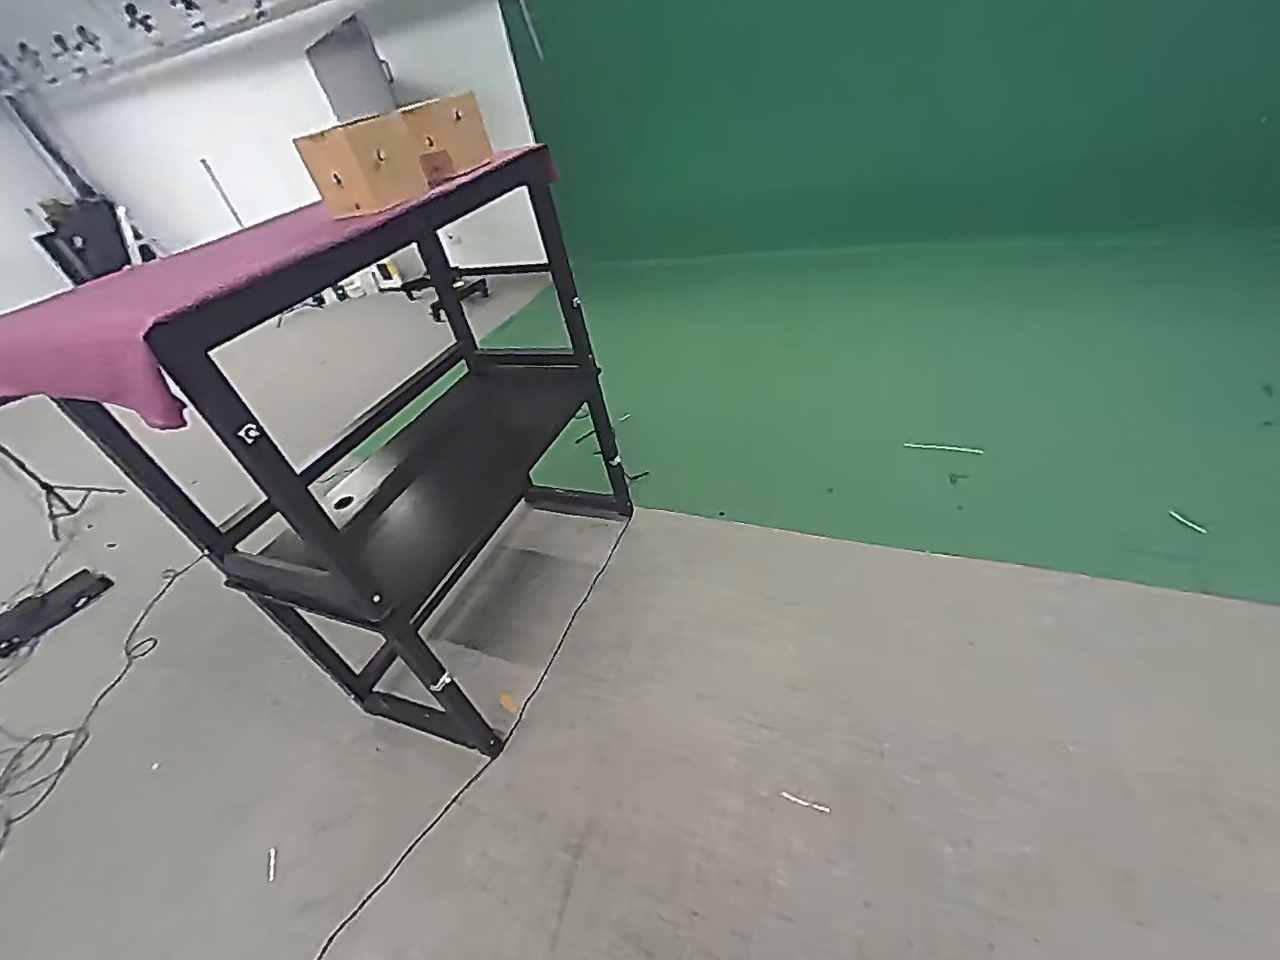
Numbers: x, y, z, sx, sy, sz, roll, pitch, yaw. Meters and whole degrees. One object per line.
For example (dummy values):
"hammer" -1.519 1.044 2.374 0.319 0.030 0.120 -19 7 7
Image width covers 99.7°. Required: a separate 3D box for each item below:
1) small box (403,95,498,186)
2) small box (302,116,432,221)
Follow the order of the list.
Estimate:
"small box" -0.517 -0.912 1.465 0.168 0.176 0.179 9 44 27
"small box" -0.620 -0.713 1.252 0.168 0.176 0.179 7 44 26
